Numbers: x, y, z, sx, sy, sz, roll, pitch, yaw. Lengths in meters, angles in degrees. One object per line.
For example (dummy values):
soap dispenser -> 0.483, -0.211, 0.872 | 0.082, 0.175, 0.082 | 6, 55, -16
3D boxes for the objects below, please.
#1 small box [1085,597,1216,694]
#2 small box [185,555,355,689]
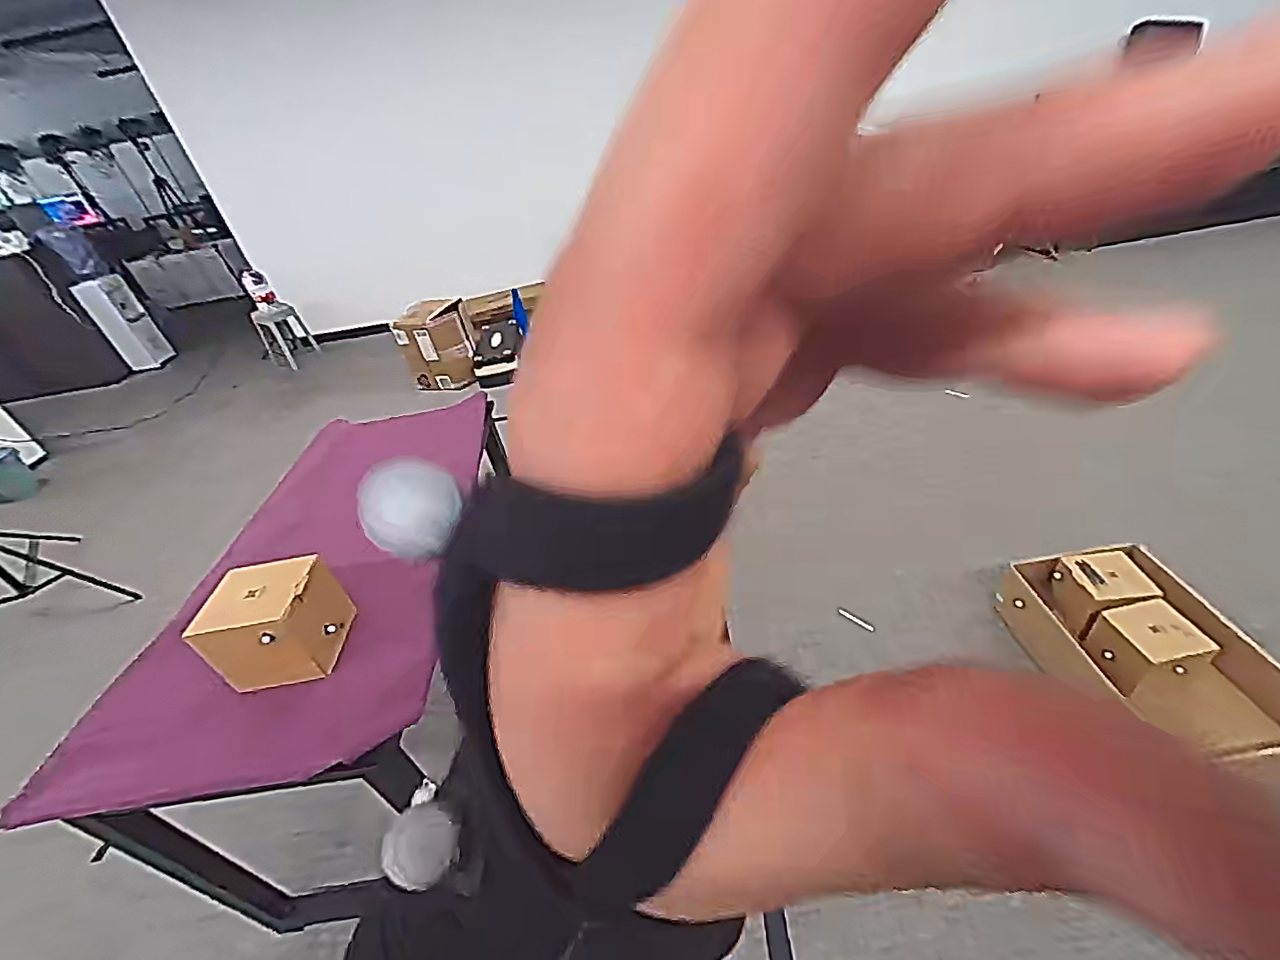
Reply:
small box -> 1.338, 0.444, 1.438 | 0.179, 0.176, 0.168 | -12, 38, -1
small box -> -0.685, 0.272, 1.026 | 0.179, 0.176, 0.168 | -10, 35, -1
